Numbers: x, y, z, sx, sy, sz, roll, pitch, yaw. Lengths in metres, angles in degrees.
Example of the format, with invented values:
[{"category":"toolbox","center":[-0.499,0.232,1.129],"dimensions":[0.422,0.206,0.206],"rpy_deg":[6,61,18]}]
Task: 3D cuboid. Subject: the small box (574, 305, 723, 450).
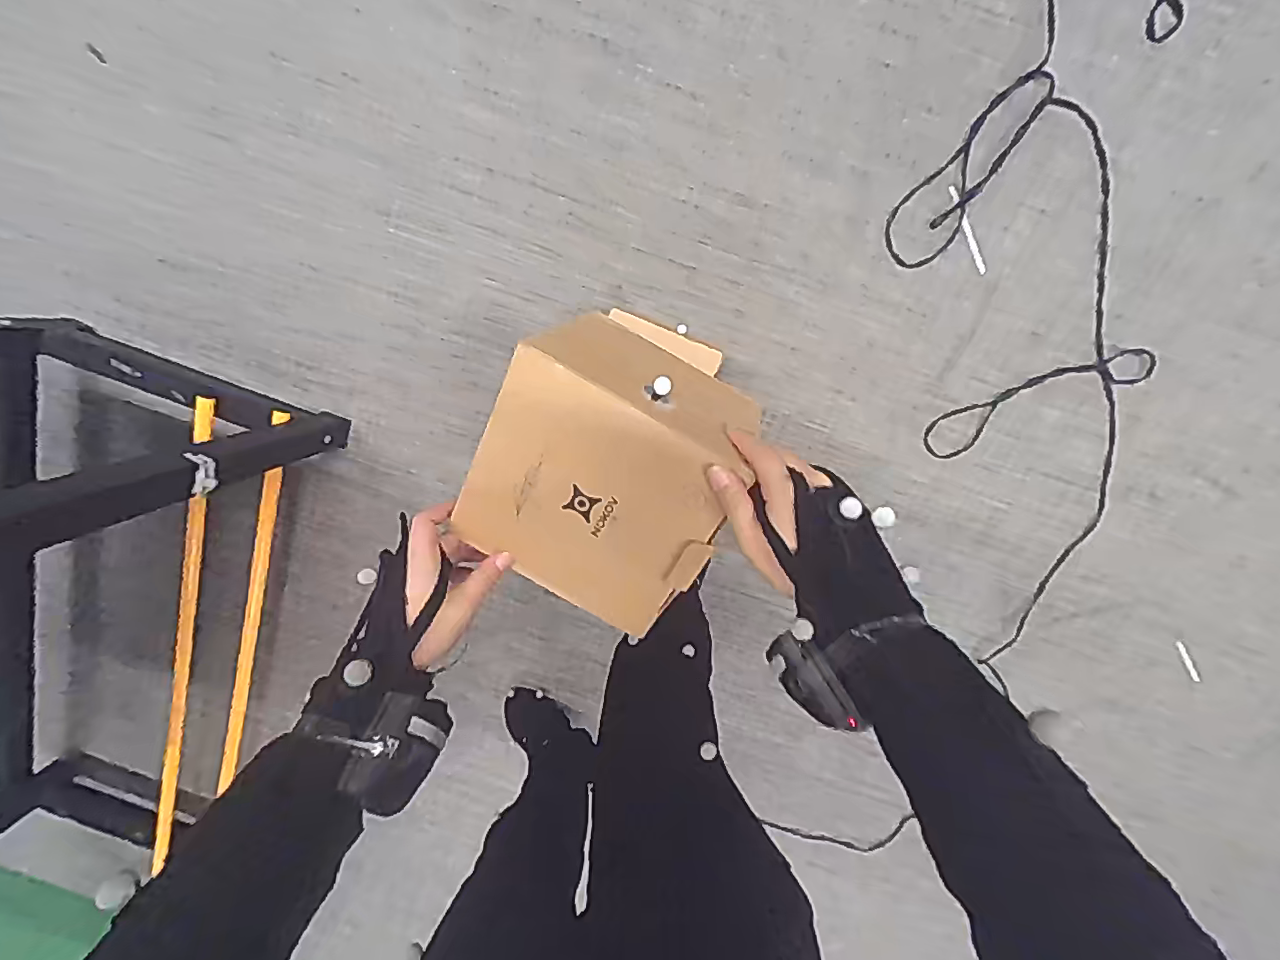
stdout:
[{"category":"small box","center":[0.016,-0.170,0.861],"dimensions":[0.179,0.176,0.168],"rpy_deg":[22,108,-2]}]
